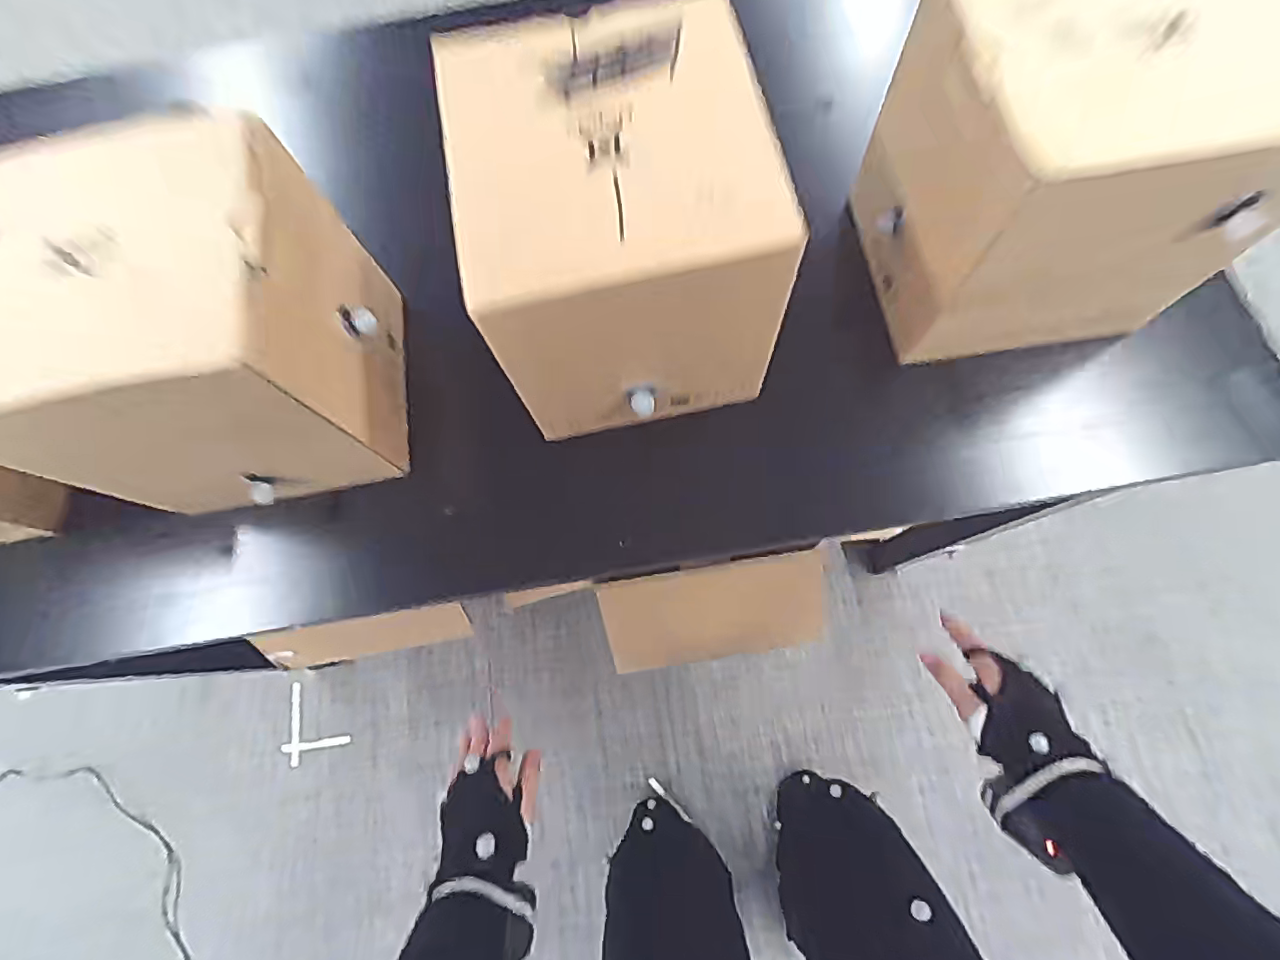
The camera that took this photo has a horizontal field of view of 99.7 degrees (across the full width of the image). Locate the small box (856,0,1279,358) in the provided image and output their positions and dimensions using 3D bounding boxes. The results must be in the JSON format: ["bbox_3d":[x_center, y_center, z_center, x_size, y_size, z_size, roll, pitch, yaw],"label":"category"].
[{"bbox_3d":[0.267,-0.199,0.350,0.179,0.176,0.168,-8,71,2],"label":"small box"}]

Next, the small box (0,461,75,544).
[{"bbox_3d":[-0.534,-0.046,0.358,0.179,0.176,0.168,-8,73,0],"label":"small box"}]

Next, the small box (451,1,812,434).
[{"bbox_3d":[-0.009,-0.151,0.355,0.168,0.176,0.179,-11,73,0],"label":"small box"}]

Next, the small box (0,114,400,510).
[{"bbox_3d":[-0.274,-0.089,0.354,0.179,0.176,0.168,-11,72,0],"label":"small box"}]
